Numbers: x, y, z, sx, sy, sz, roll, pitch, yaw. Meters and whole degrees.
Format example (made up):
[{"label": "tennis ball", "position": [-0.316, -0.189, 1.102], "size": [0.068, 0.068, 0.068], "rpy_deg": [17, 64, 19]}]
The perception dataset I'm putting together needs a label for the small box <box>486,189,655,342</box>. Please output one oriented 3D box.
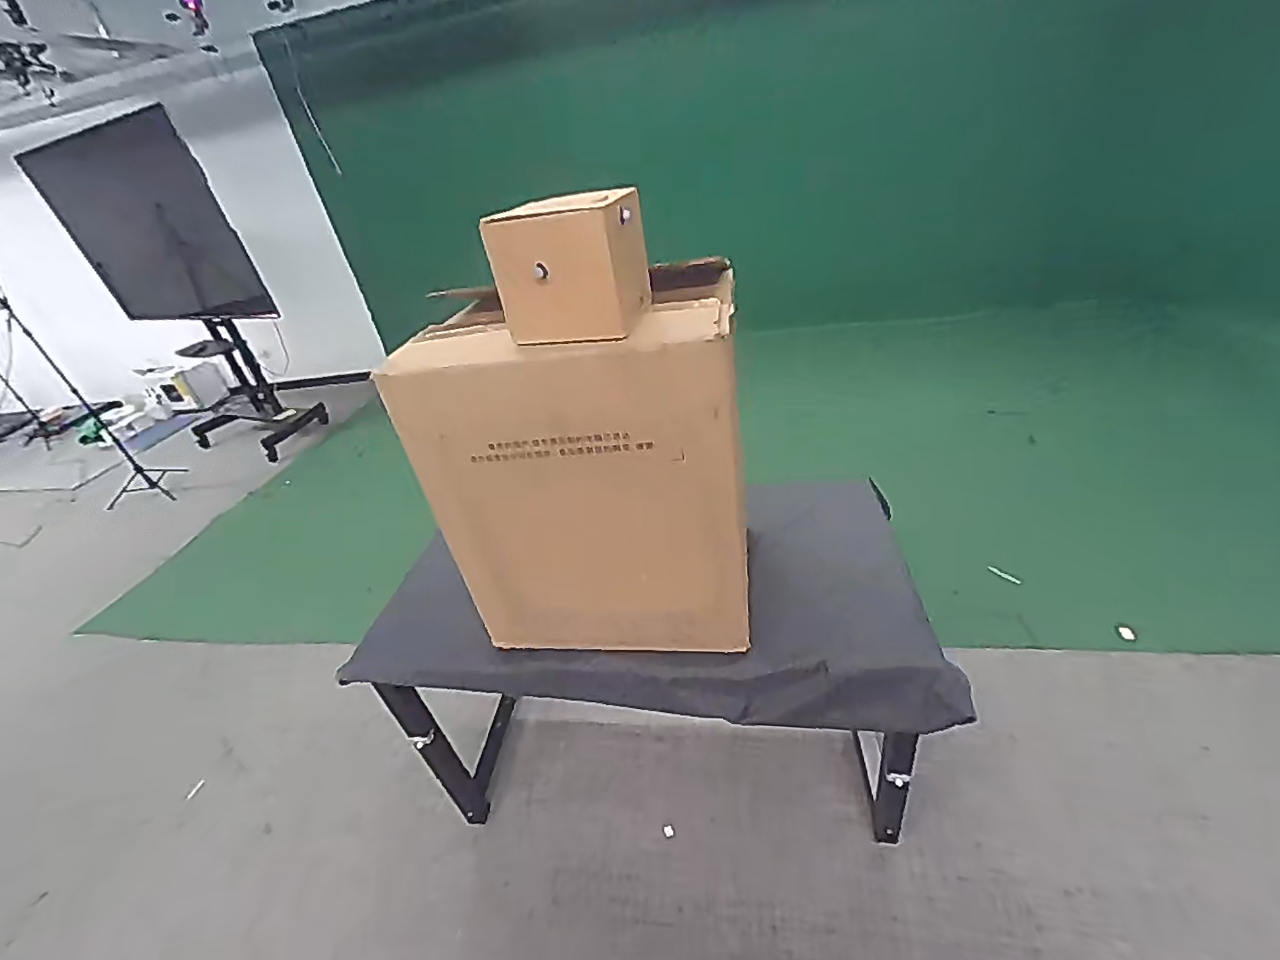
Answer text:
[{"label": "small box", "position": [-0.088, -0.309, 0.789], "size": [0.179, 0.176, 0.168], "rpy_deg": [1, 35, 17]}]
